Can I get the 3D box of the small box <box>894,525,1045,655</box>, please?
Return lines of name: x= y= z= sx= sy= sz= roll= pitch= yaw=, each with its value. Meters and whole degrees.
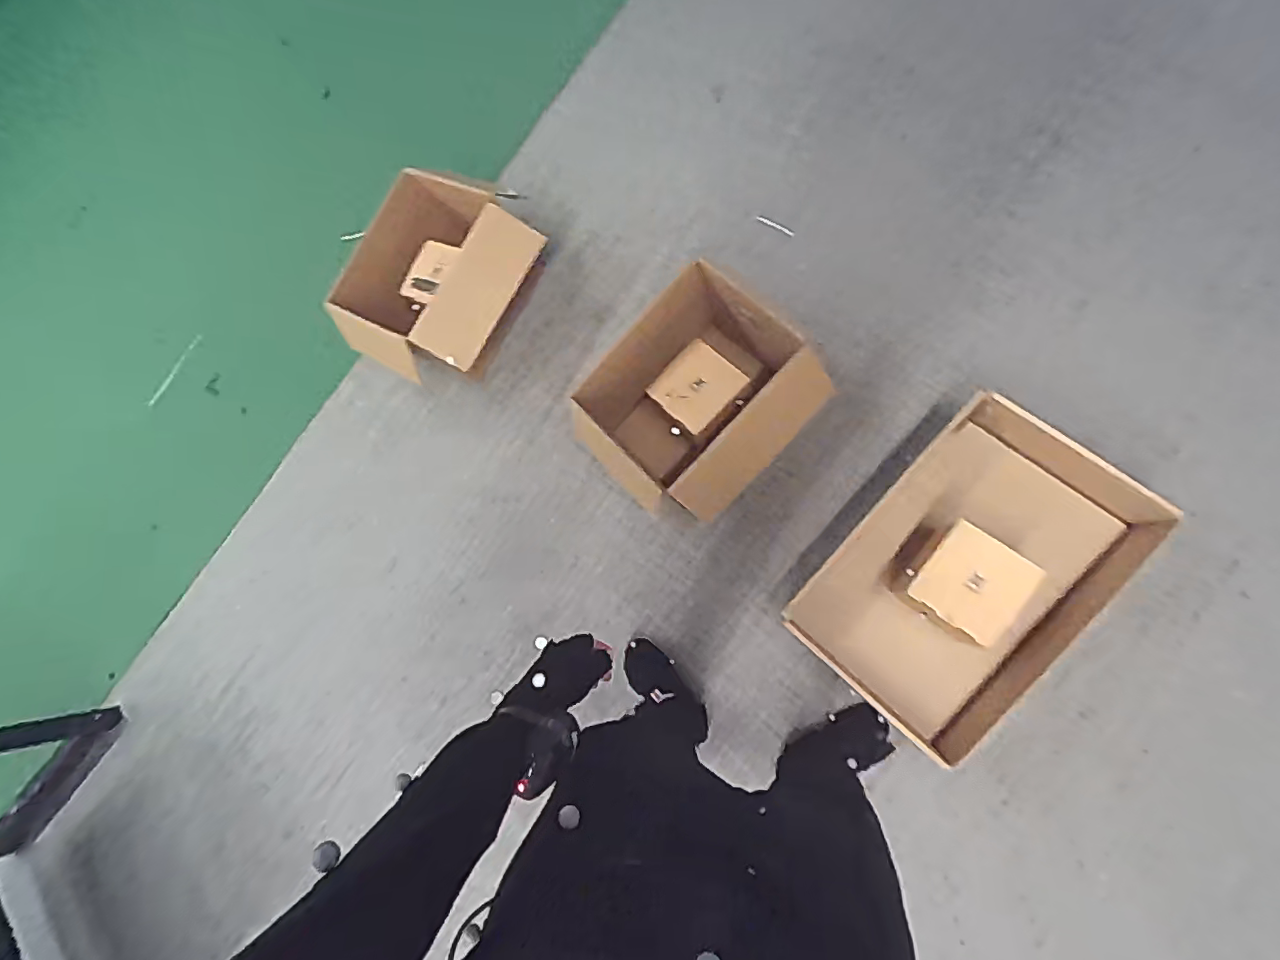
small box: x=0.625 y=0.211 z=1.055 sx=0.168 sy=0.176 sz=0.179 roll=37 pitch=90 yaw=19
